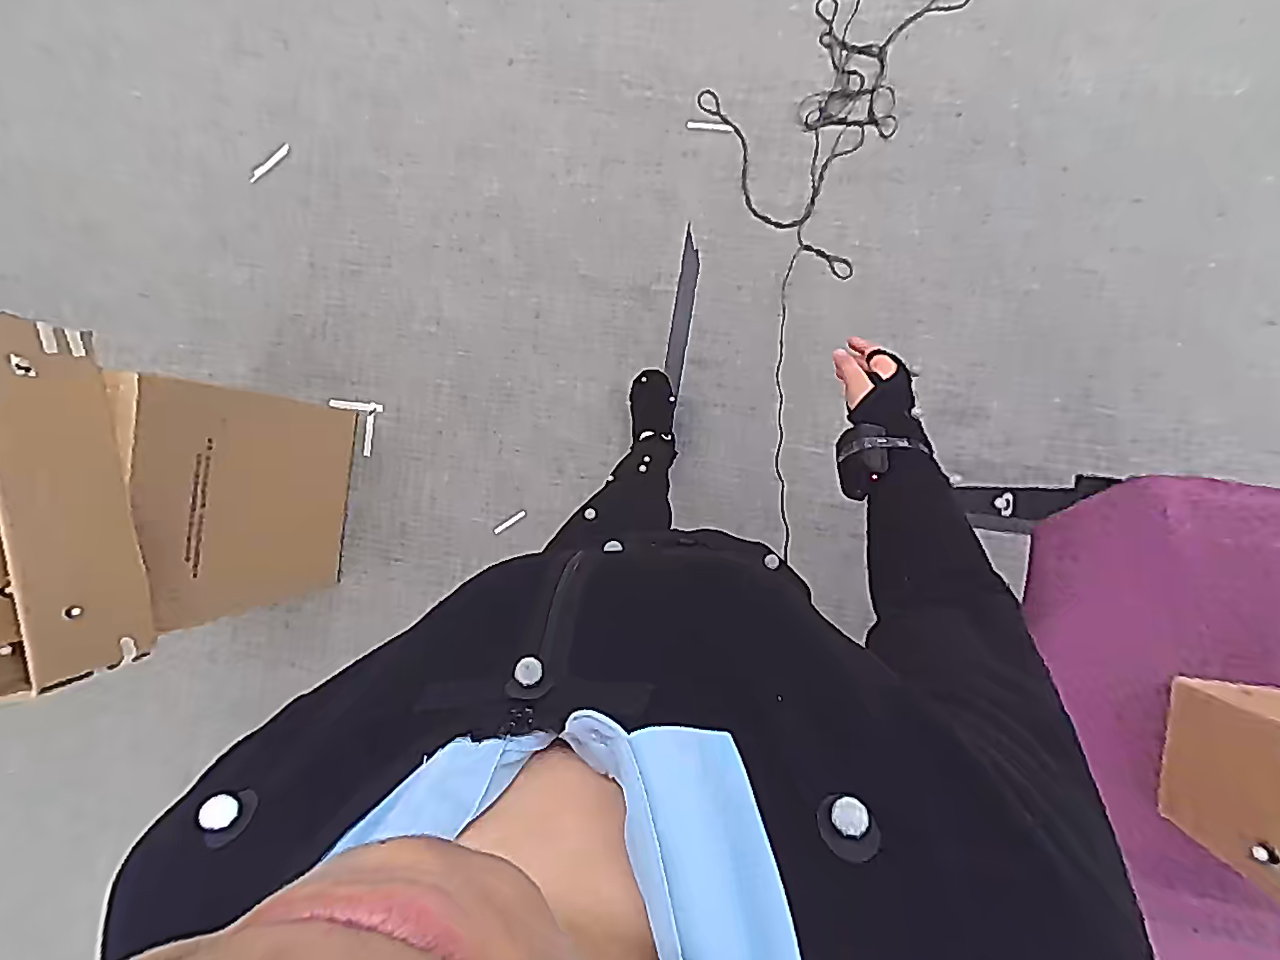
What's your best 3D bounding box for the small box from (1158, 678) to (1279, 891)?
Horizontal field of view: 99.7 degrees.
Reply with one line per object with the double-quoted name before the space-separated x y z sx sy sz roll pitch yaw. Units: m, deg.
"small box" 0.721 0.334 0.586 0.168 0.176 0.179 5 91 7
